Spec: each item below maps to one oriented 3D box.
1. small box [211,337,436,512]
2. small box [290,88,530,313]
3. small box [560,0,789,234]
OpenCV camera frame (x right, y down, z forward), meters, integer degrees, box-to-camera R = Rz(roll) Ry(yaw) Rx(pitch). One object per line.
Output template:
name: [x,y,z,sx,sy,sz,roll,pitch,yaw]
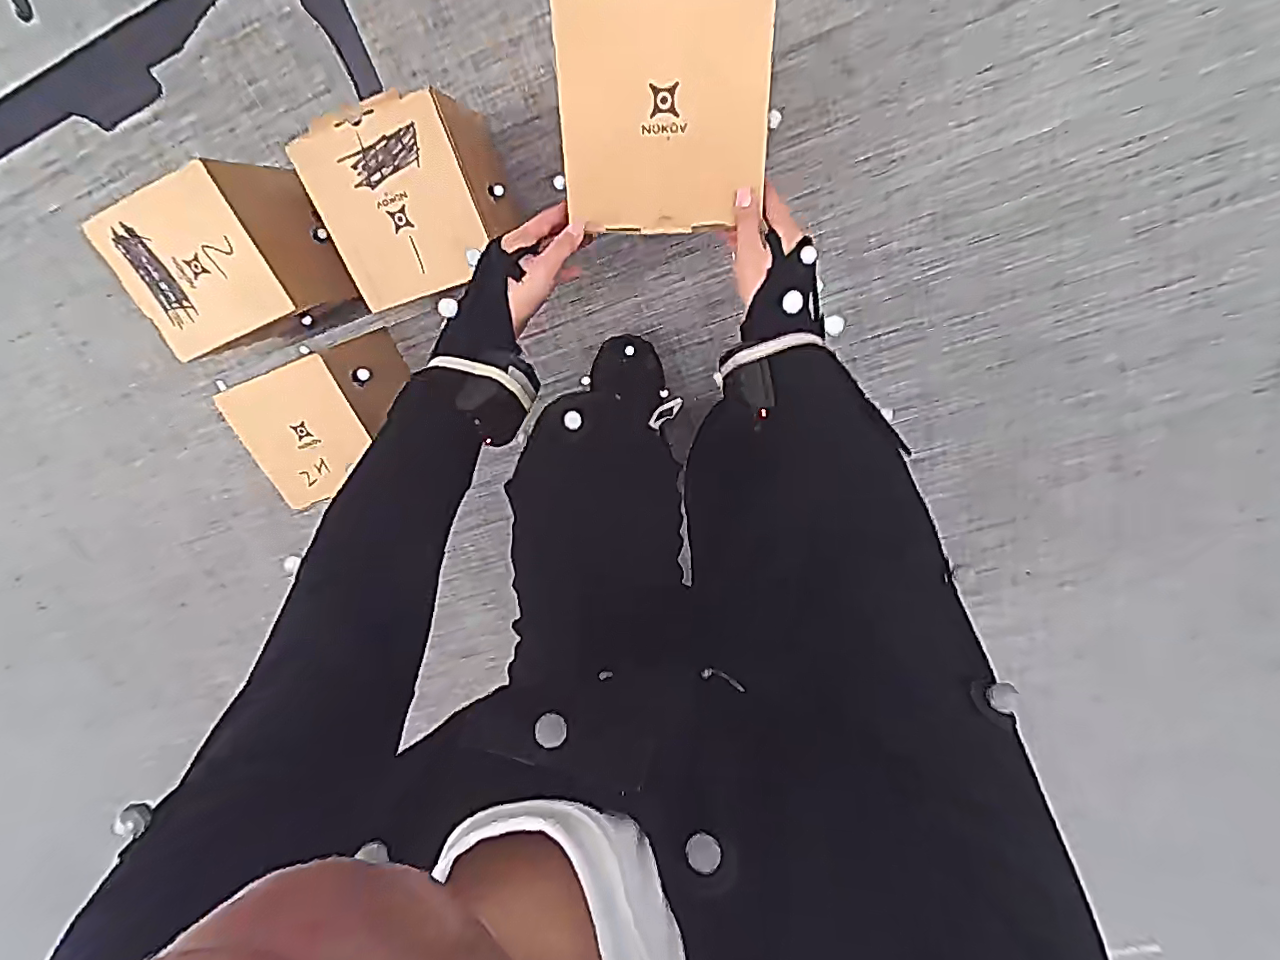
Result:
small box: [-0.419,-0.087,0.751,0.168,0.176,0.179,-17,114,11]
small box: [-0.248,-0.316,0.634,0.168,0.176,0.179,-14,115,10]
small box: [0.024,-0.318,0.478,0.168,0.176,0.179,-1,118,1]
